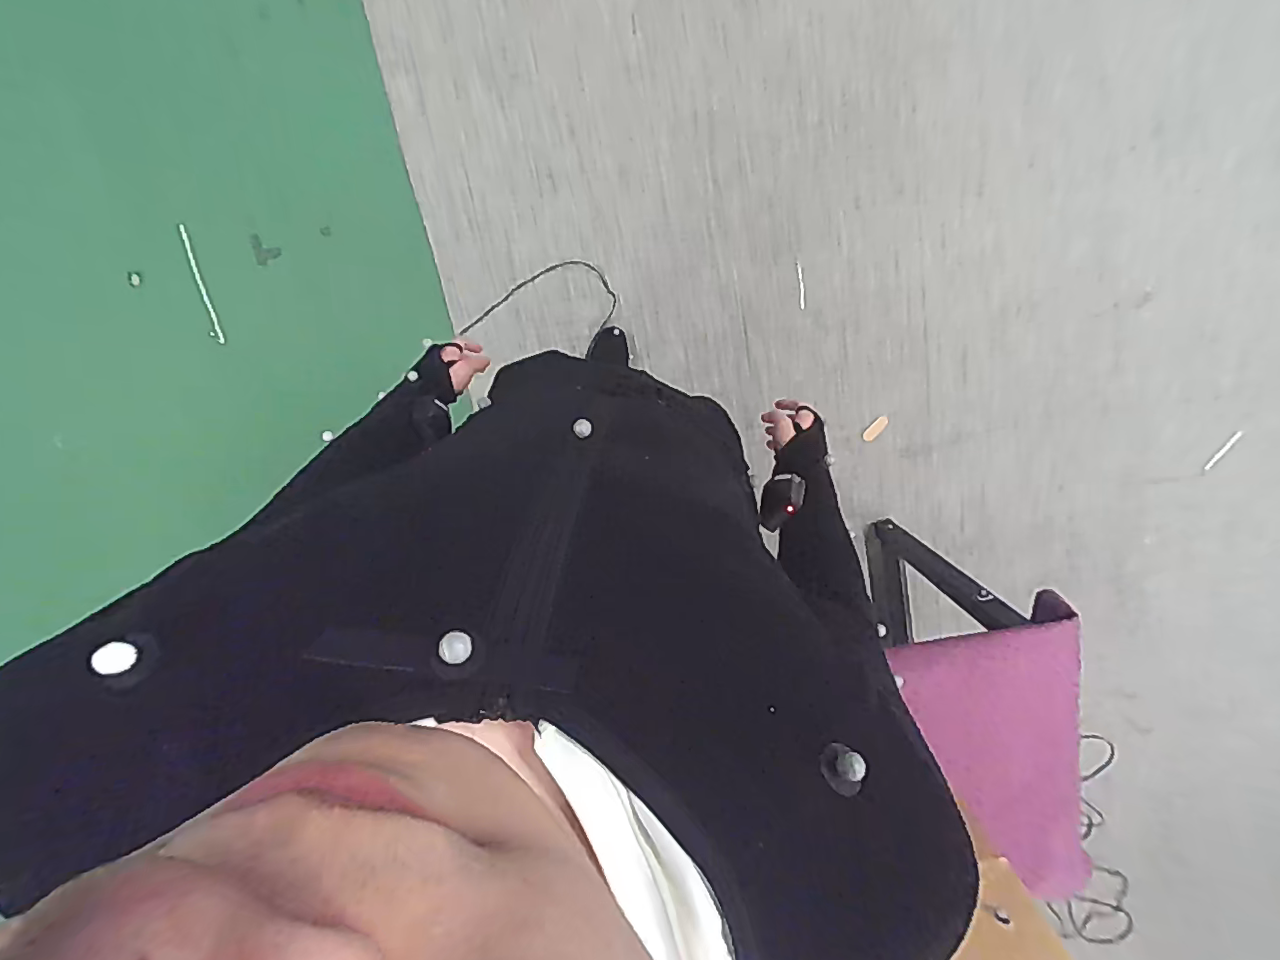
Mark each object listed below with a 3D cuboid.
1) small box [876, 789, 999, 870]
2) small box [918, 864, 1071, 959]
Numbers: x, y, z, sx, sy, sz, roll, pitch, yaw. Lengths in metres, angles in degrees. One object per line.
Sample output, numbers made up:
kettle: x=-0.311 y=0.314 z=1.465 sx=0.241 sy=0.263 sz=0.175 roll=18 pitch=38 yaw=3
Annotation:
small box: x=0.542 y=0.712 z=1.015 sx=0.168 sy=0.176 sz=0.179 roll=-11 pitch=105 yaw=3
small box: x=0.542 y=0.749 z=0.858 sx=0.168 sy=0.176 sz=0.179 roll=-11 pitch=105 yaw=3
